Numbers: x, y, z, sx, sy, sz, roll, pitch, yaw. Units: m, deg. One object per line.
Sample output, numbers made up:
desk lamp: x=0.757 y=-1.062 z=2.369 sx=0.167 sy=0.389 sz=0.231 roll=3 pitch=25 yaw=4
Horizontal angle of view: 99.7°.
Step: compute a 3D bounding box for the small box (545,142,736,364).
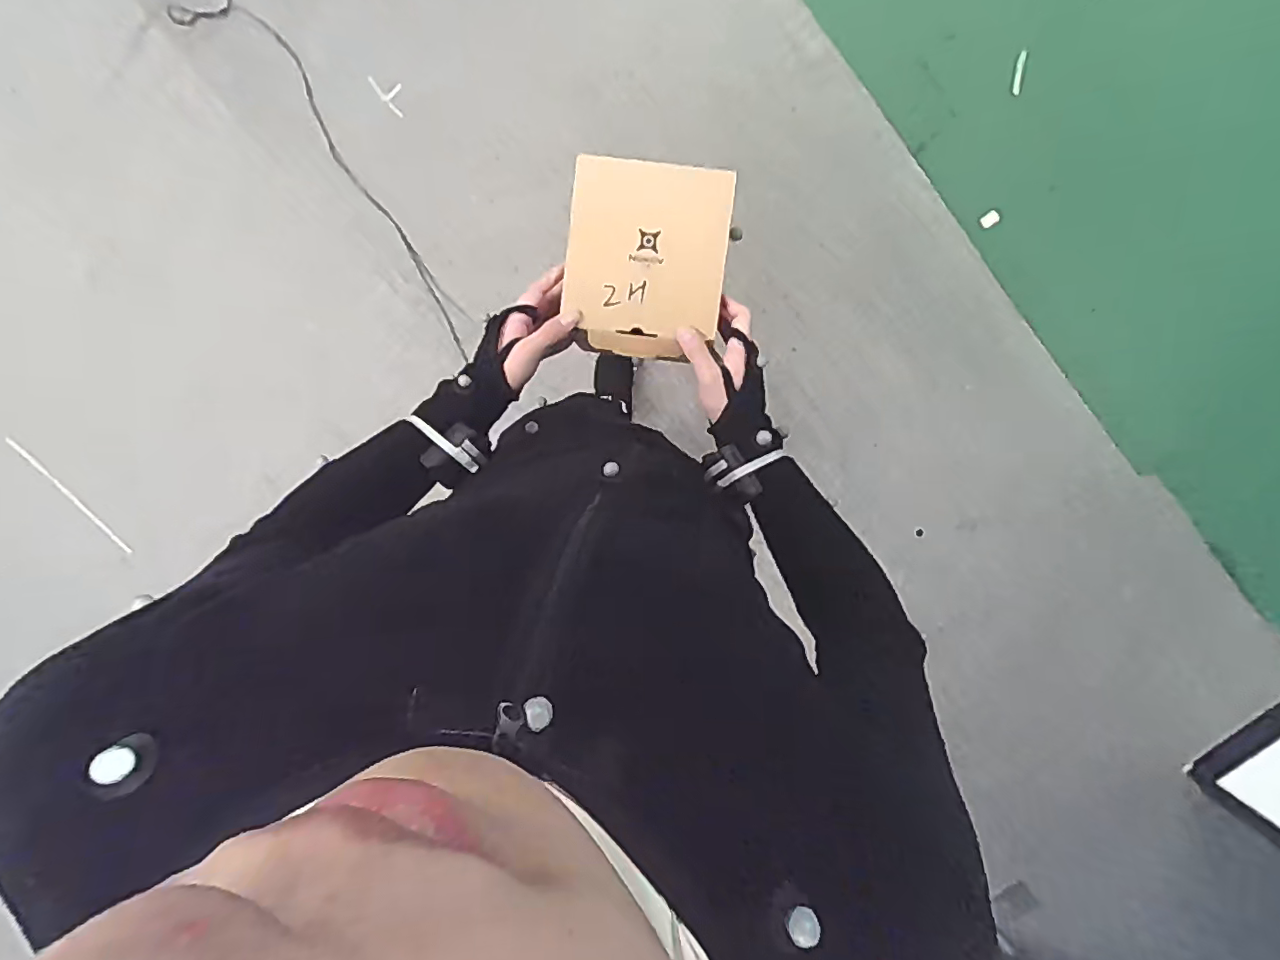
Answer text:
small box: x=0.003 y=-0.246 z=0.628 sx=0.168 sy=0.176 sz=0.179 roll=13 pitch=96 yaw=3
